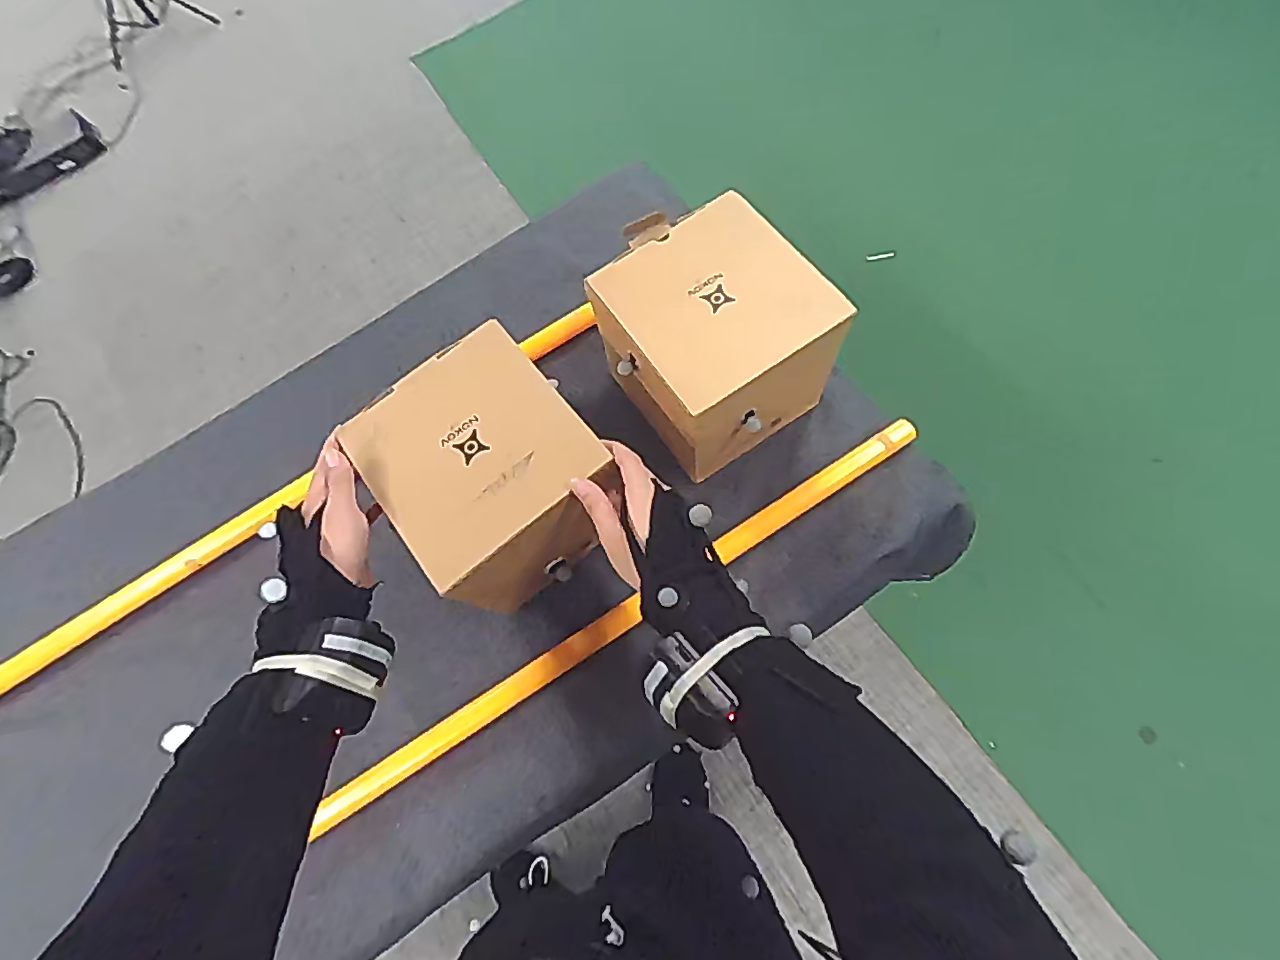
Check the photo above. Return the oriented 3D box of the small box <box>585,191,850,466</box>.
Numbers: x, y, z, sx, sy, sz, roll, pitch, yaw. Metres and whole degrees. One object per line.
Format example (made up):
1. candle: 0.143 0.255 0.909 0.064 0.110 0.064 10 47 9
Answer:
1. small box: 0.073 -0.133 0.541 0.168 0.176 0.179 -34 69 -5
